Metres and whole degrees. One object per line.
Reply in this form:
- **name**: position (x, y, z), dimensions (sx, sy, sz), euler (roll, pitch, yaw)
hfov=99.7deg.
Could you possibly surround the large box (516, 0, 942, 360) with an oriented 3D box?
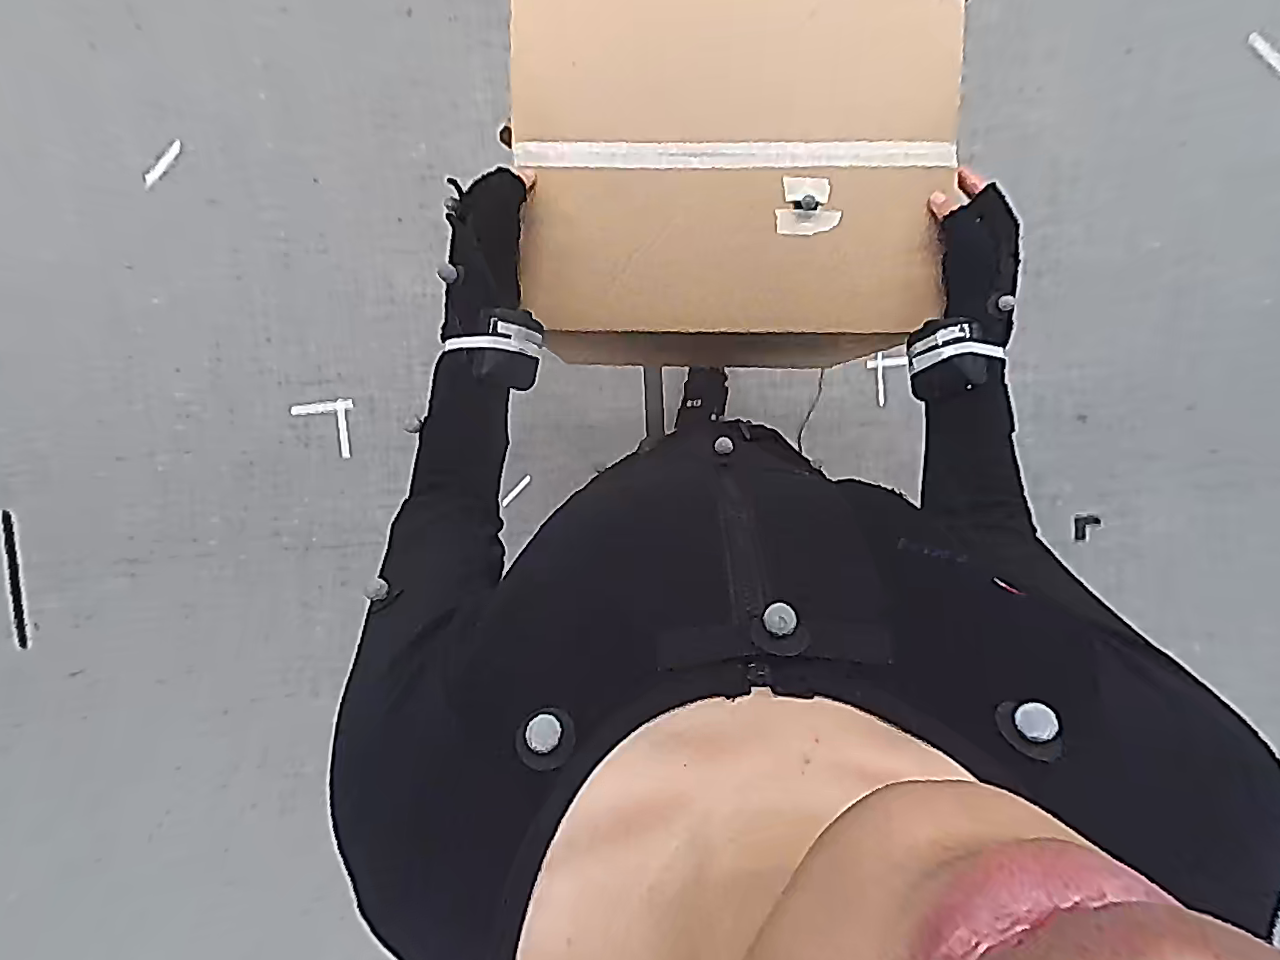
- **large box**: position (0.083, -0.326, 0.662), dimensions (0.408, 0.320, 0.320), euler (0, 96, 0)
